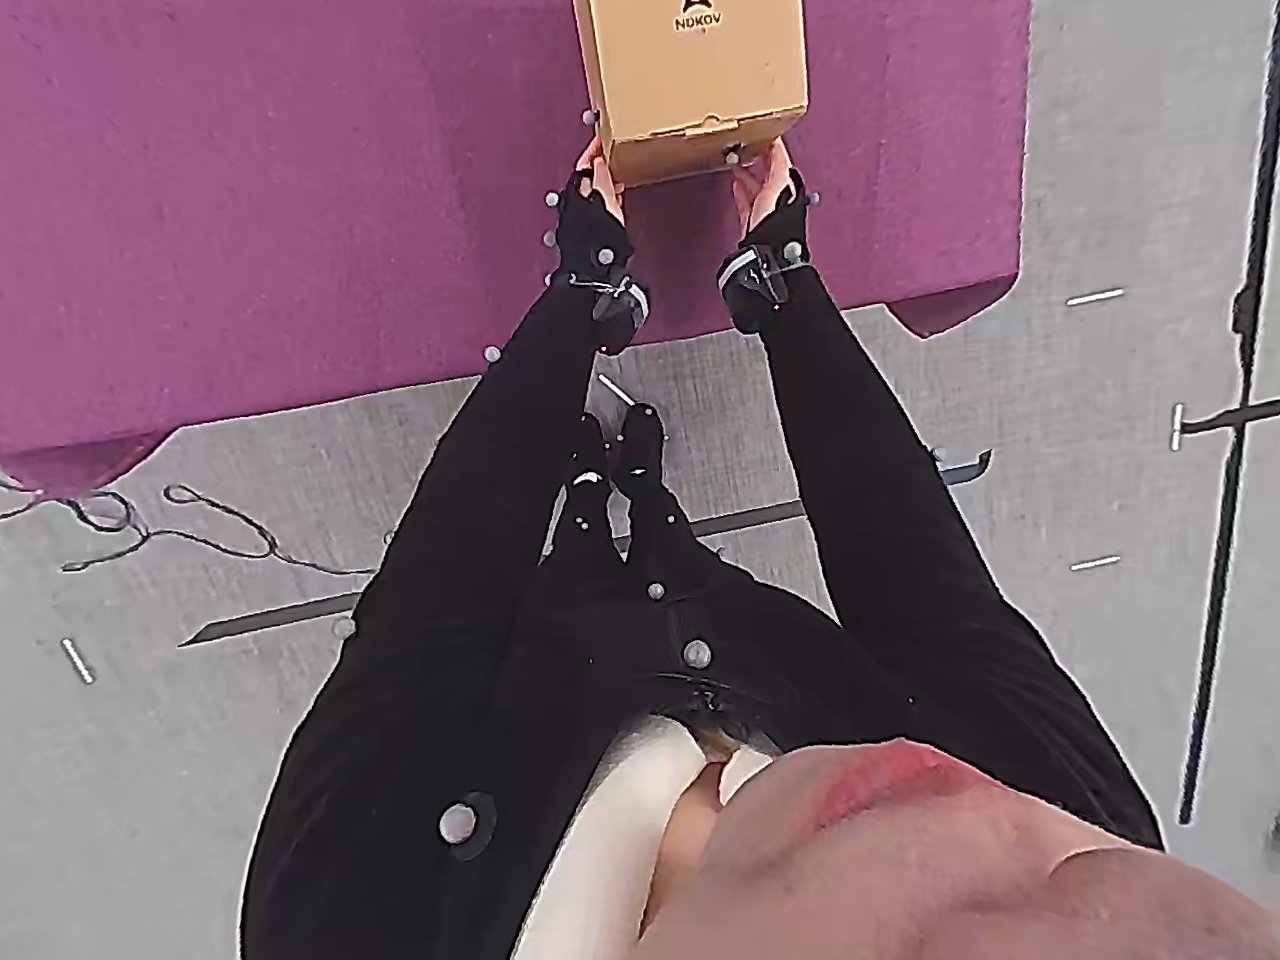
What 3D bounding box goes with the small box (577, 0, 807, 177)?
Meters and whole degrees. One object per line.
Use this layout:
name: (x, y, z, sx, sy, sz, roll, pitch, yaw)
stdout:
small box: (0.037, -0.392, 0.488, 0.168, 0.176, 0.179, -11, 107, -2)
